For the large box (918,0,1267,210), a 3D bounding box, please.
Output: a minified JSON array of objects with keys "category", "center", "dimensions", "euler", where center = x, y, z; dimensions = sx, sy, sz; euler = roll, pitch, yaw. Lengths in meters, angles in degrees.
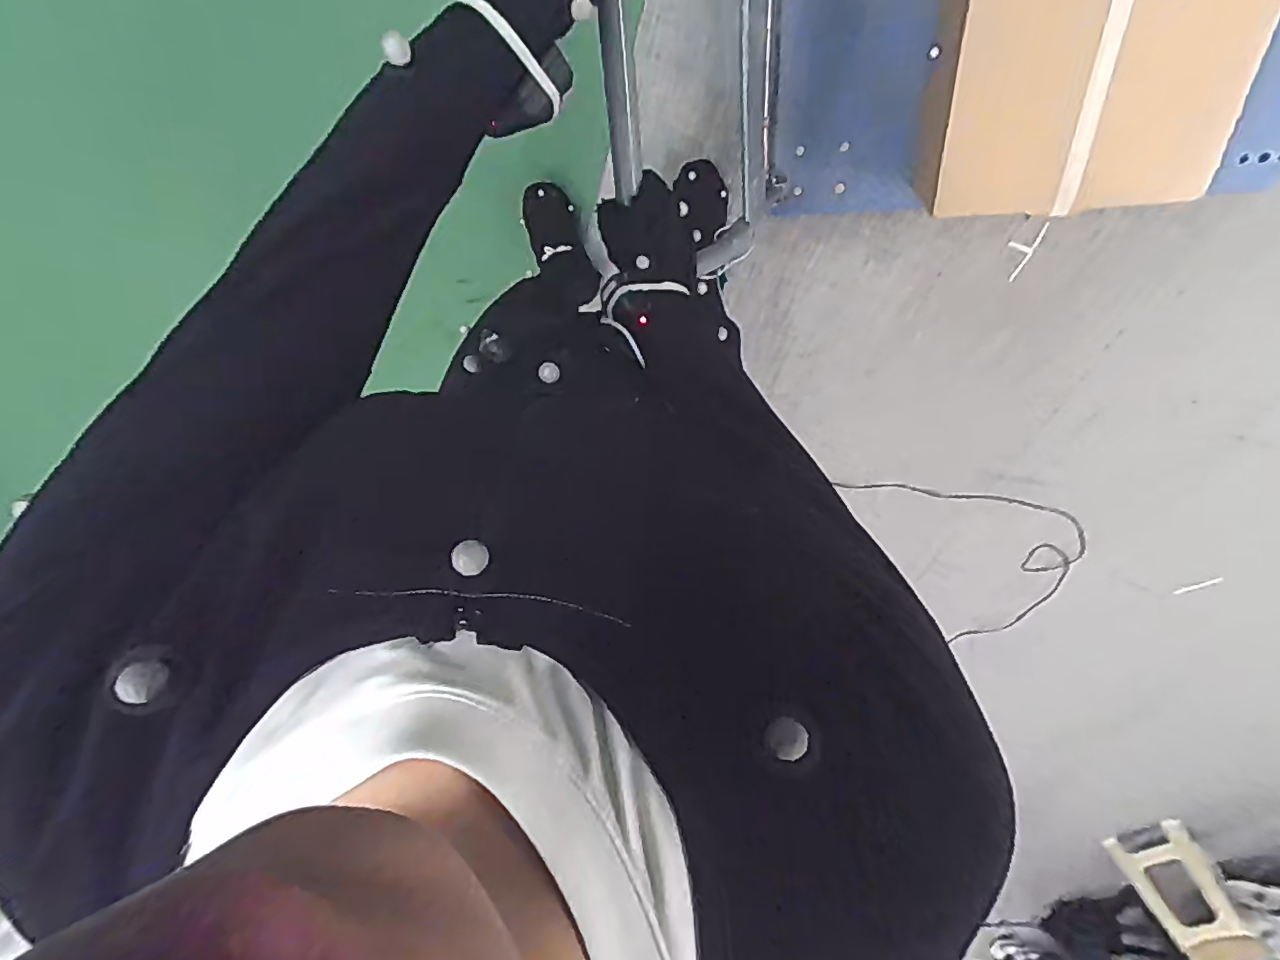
[{"category":"large box","center":[0.588,-0.626,0.747],"dimensions":[0.320,0.320,0.408],"euler":[5,125,18]}]
